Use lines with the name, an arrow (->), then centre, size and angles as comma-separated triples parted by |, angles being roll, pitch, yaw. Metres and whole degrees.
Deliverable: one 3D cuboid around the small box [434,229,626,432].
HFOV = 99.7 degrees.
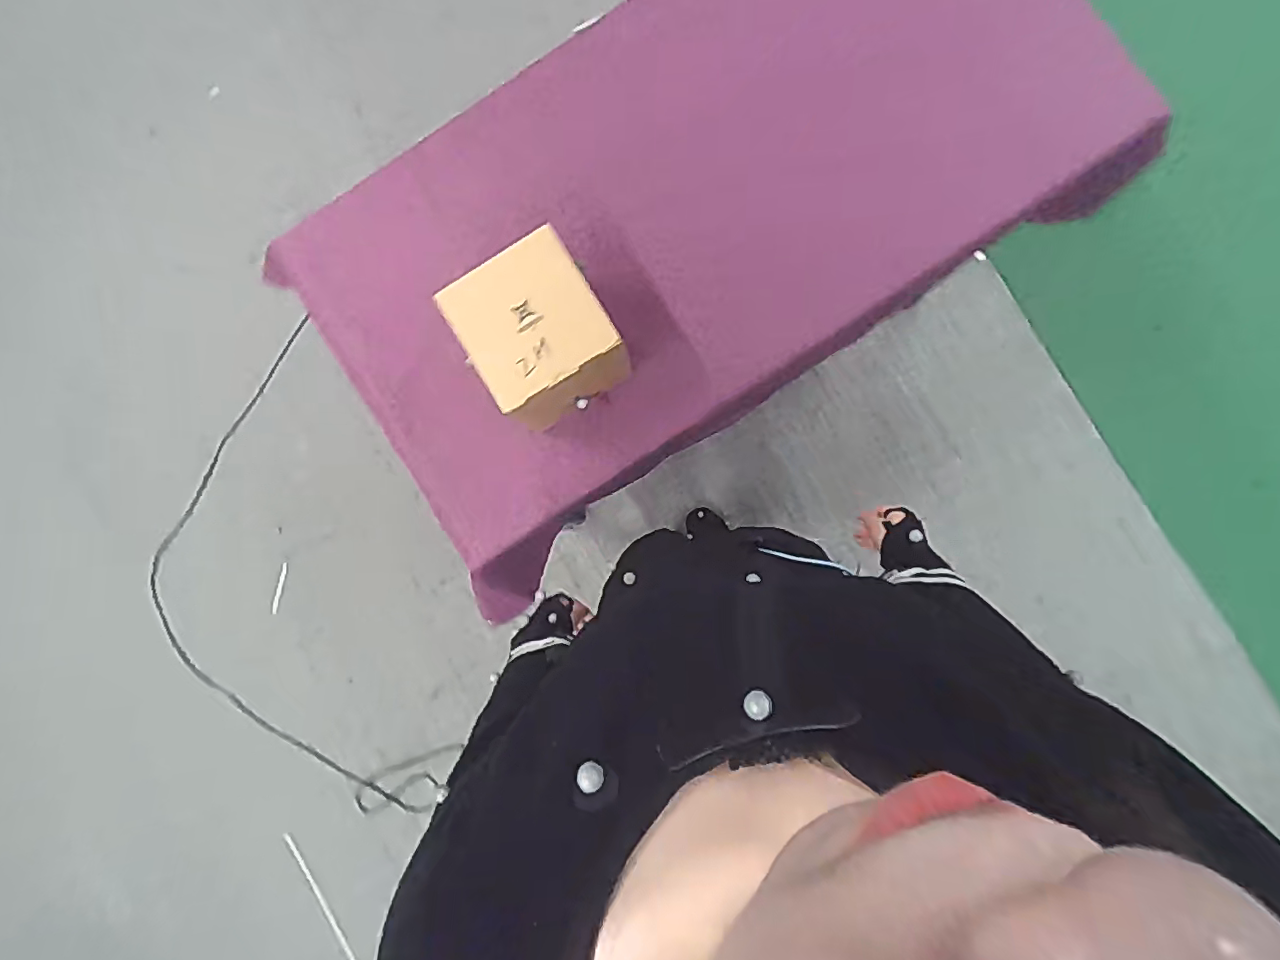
small box -> -0.134, -0.184, 0.725 | 0.168, 0.176, 0.179 | -33, 85, 2
